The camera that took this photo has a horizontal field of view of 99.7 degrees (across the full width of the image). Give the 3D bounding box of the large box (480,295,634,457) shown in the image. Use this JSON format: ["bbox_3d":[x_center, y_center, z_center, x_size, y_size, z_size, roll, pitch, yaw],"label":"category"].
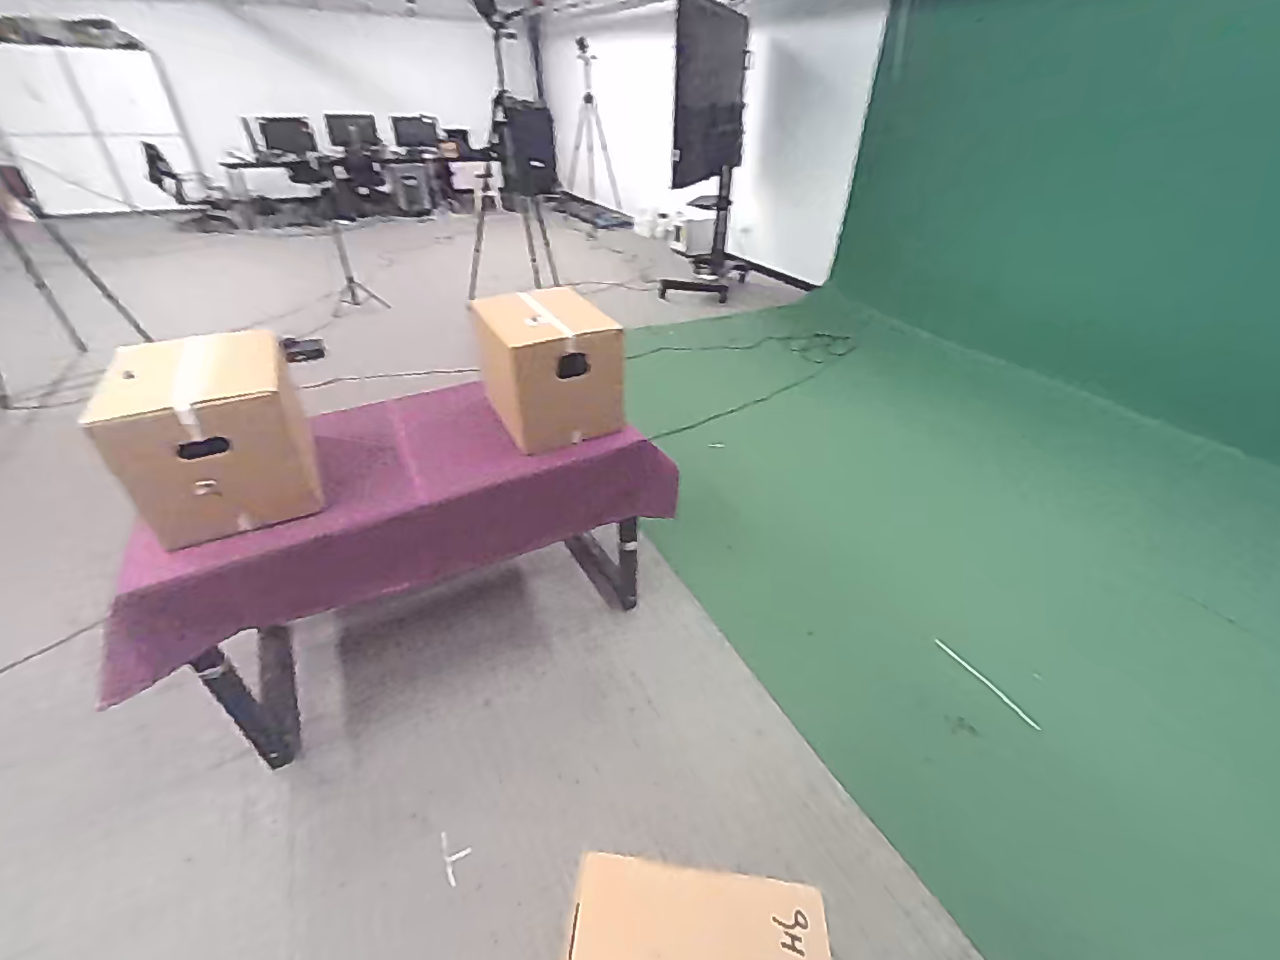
[{"bbox_3d":[-0.251,-0.321,1.591,0.320,0.320,0.408,-16,40,-23],"label":"large box"}]
